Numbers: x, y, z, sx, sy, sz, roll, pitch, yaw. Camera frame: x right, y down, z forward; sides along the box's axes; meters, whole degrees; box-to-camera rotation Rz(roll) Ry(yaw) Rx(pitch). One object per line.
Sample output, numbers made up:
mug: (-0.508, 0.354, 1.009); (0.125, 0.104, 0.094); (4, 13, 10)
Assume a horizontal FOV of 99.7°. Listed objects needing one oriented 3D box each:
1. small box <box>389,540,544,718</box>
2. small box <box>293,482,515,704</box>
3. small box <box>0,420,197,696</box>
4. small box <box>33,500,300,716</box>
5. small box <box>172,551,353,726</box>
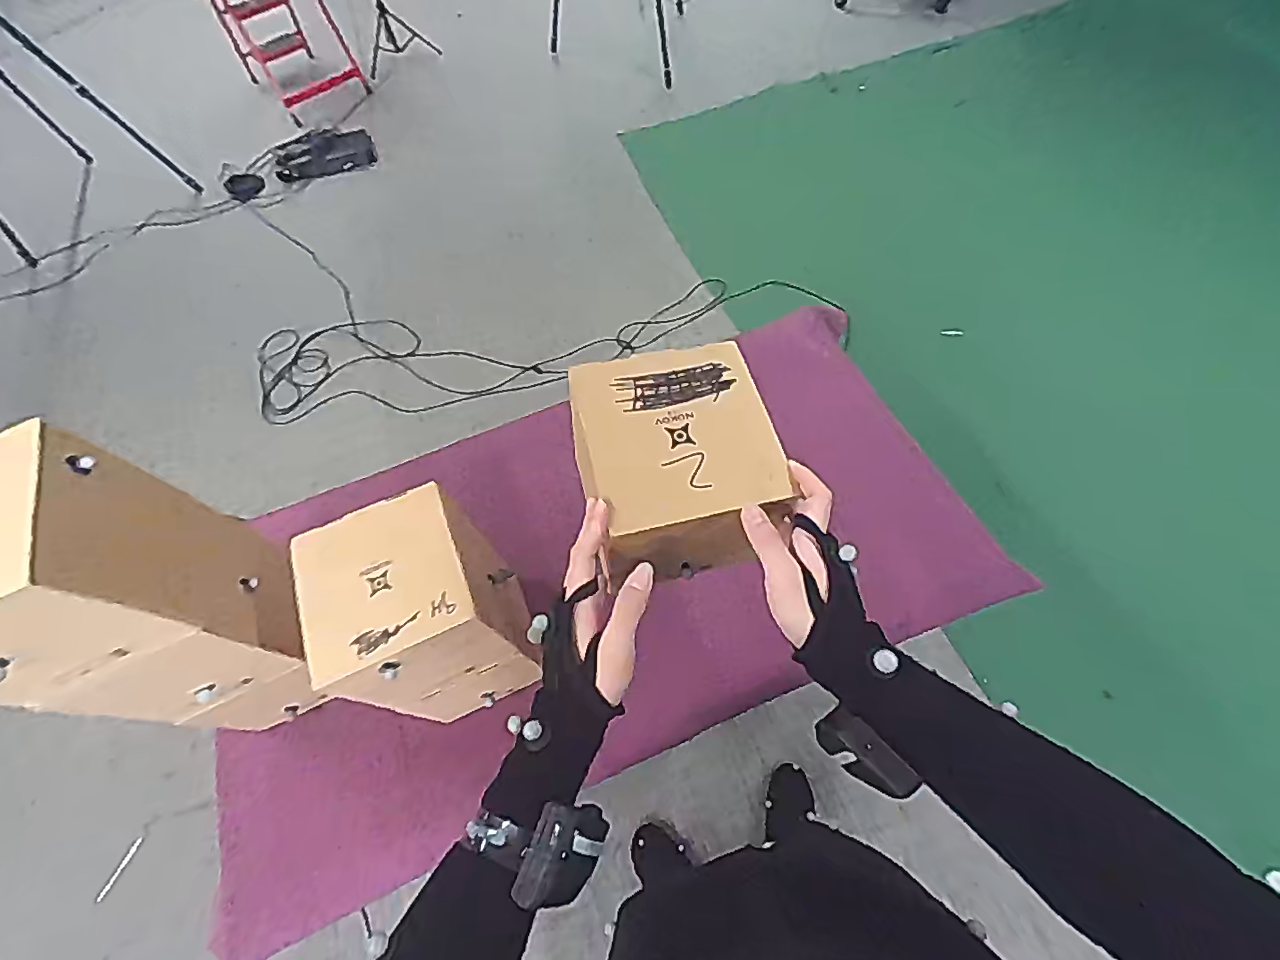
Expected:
small box: (-0.254, 0.218, 0.774); (0.168, 0.176, 0.179); (-23, 62, -7)
small box: (-0.266, 0.138, 0.631); (0.168, 0.176, 0.179); (-24, 62, -7)
small box: (-0.556, 0.083, 0.501); (0.168, 0.176, 0.179); (-25, 63, -8)
small box: (-0.544, 0.159, 0.644); (0.168, 0.176, 0.179); (-25, 64, -8)
small box: (-0.533, 0.237, 0.787); (0.168, 0.176, 0.179); (-24, 64, -8)
